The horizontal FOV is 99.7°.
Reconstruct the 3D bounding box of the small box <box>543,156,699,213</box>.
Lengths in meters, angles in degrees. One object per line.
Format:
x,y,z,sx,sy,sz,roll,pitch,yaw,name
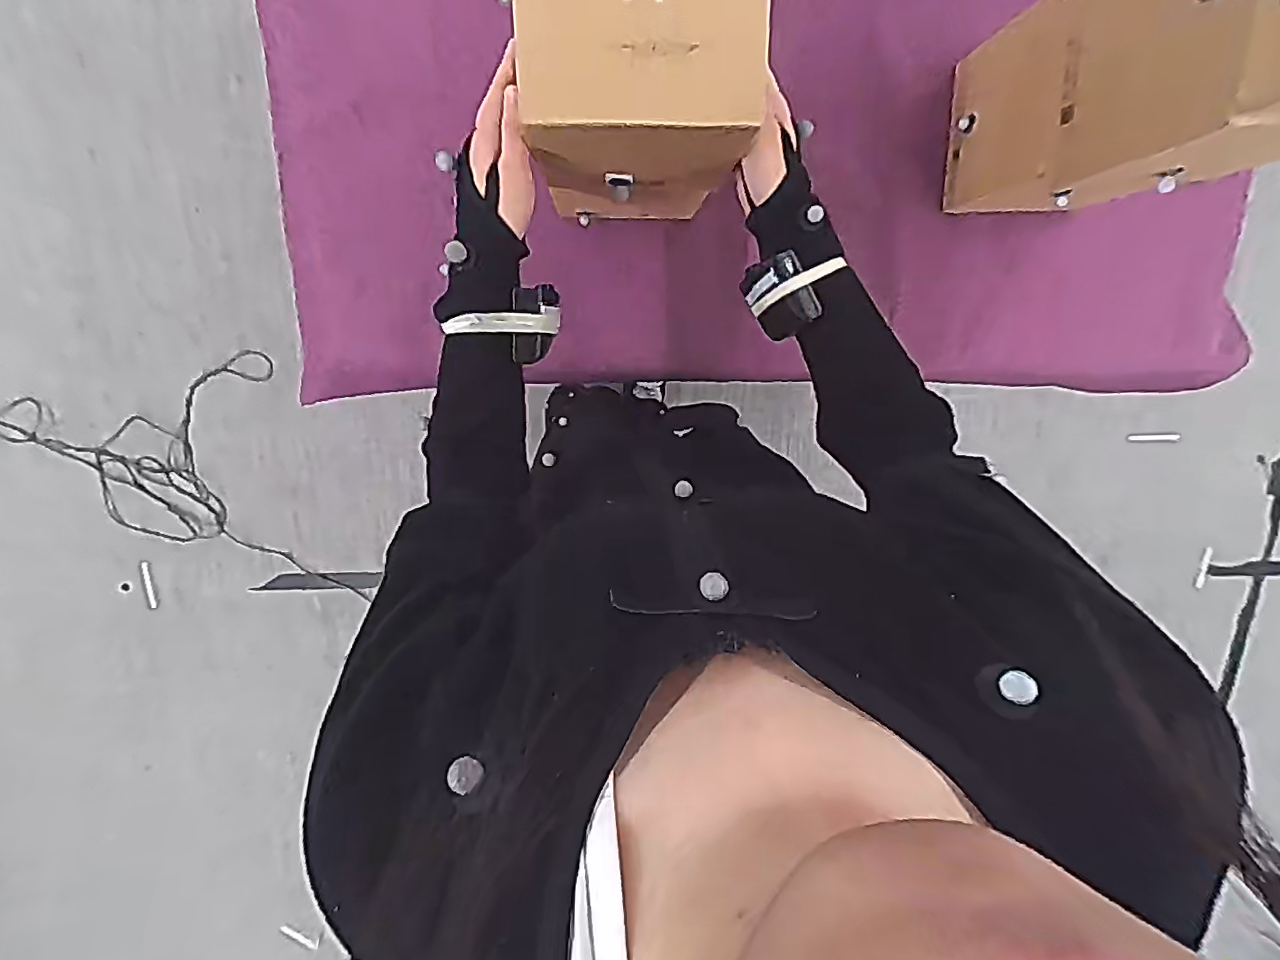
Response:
-0.013,-0.392,0.568,0.168,0.176,0.179,-1,103,-4,small box

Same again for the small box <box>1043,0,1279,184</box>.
0.482,-0.357,0.439,0.179,0.176,0.168,-6,104,-2,small box

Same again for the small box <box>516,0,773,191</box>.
-0.002,-0.341,0.413,0.168,0.176,0.179,-1,104,-3,small box
